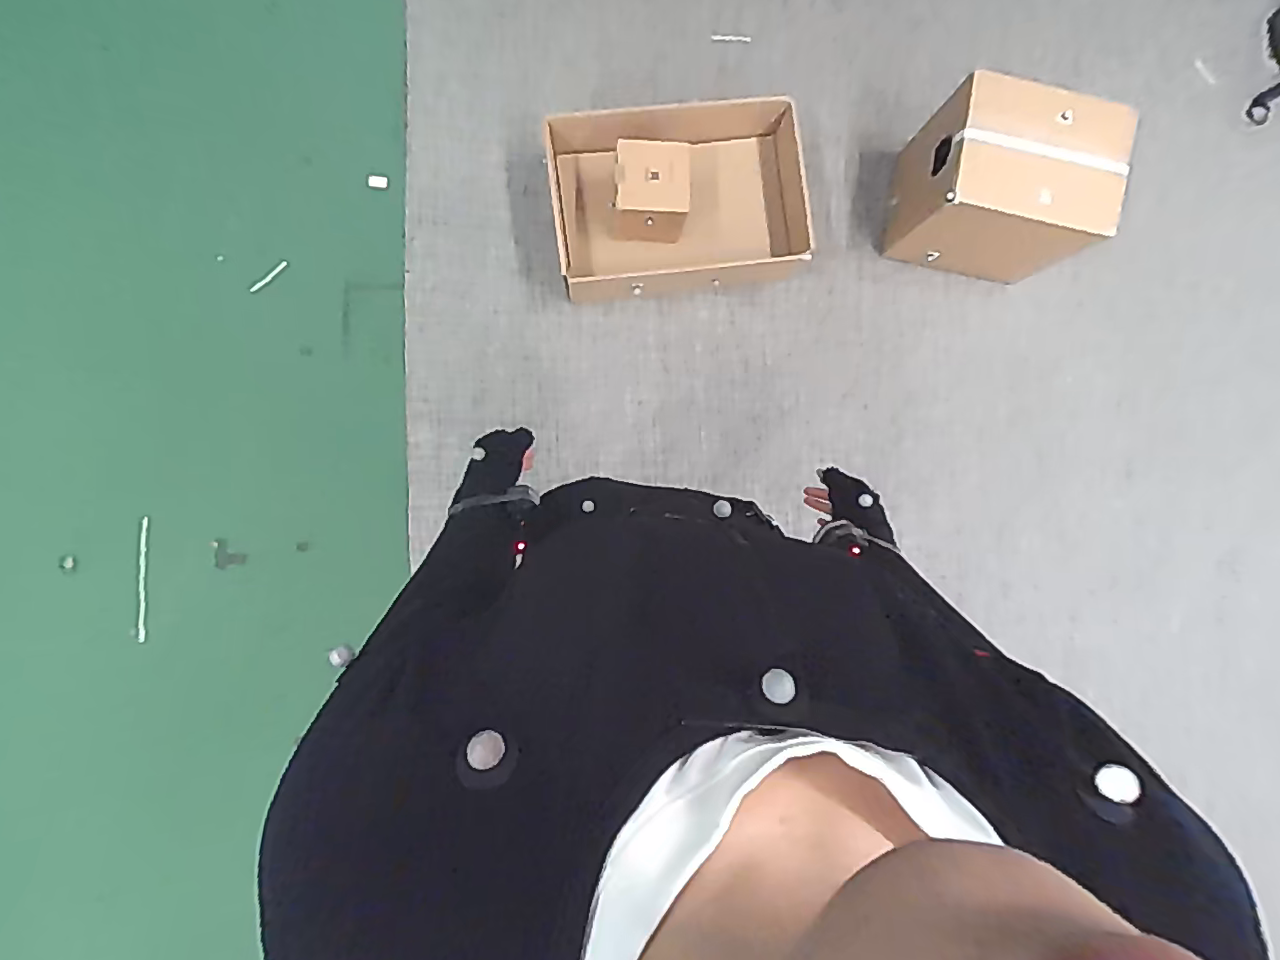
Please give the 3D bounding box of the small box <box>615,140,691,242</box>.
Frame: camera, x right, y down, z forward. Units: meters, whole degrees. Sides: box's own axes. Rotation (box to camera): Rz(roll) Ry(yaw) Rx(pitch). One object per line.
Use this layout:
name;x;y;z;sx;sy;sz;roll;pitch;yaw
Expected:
small box;0.027;-0.713;1.352;0.179;0.176;0.168;0;90;-6
